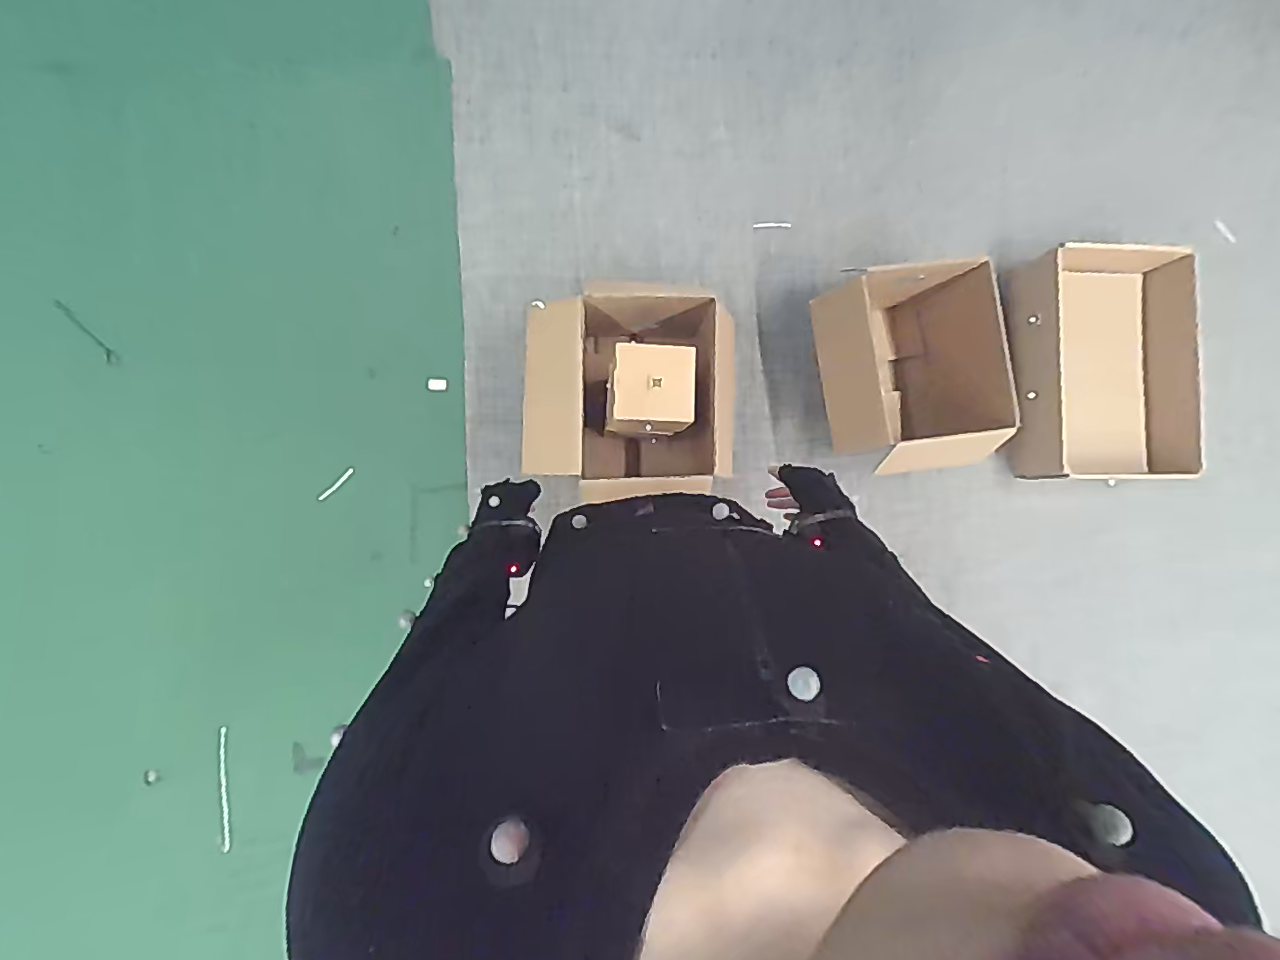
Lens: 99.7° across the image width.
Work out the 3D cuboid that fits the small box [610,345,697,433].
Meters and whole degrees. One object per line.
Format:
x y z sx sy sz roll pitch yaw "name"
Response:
0.026 -0.201 1.234 0.179 0.176 0.168 1 87 -5 "small box"
